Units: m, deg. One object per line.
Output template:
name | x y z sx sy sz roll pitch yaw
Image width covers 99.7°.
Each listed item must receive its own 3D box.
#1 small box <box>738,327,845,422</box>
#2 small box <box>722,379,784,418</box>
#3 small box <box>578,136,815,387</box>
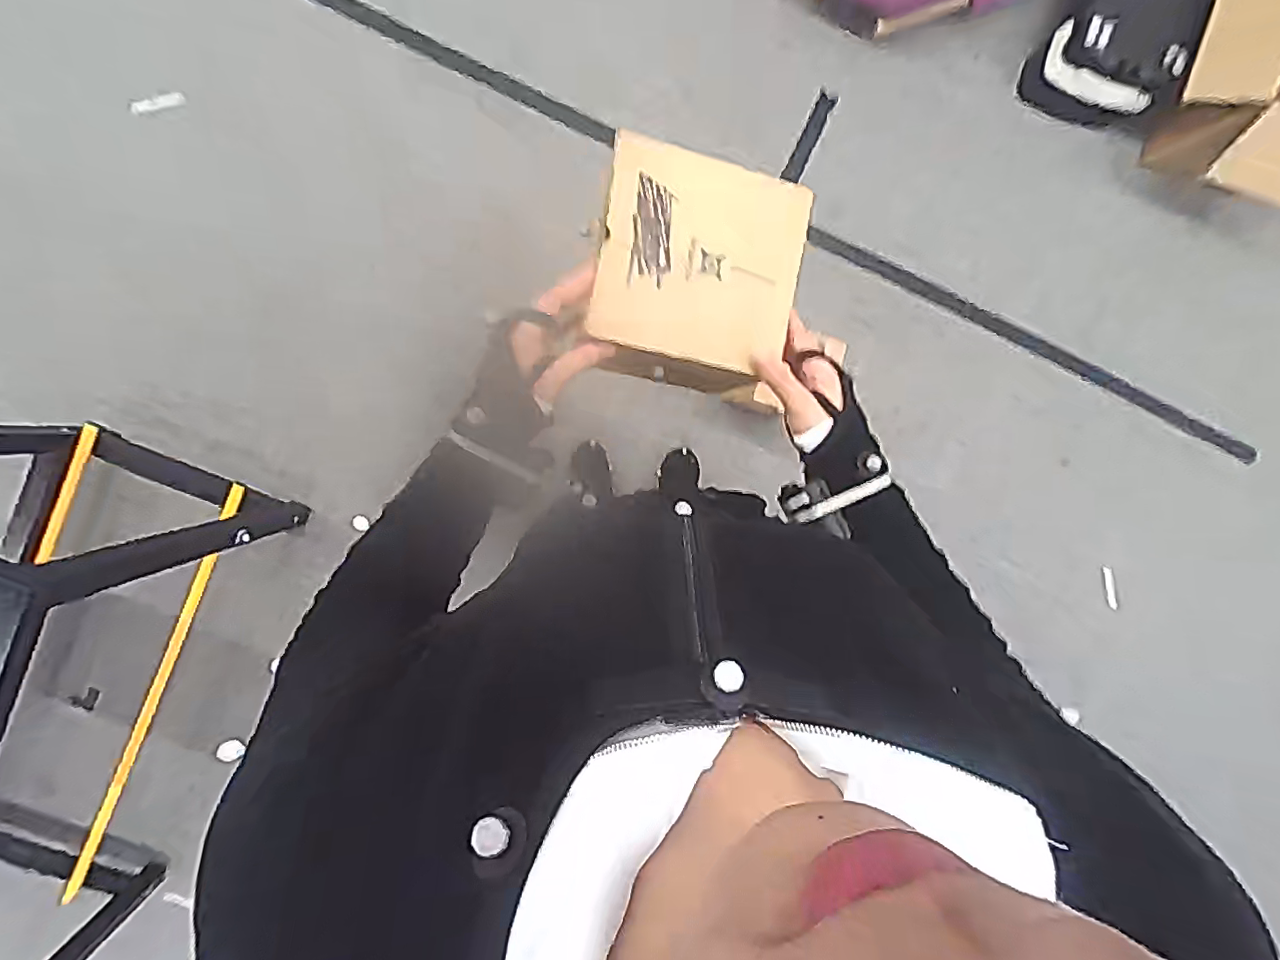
small box | 0.338 -0.241 1.249 0.168 0.176 0.179 17 95 -5
small box | 0.334 -0.264 1.411 0.179 0.176 0.168 18 94 -5
small box | 0.039 -0.190 0.532 0.179 0.176 0.168 10 93 -12
